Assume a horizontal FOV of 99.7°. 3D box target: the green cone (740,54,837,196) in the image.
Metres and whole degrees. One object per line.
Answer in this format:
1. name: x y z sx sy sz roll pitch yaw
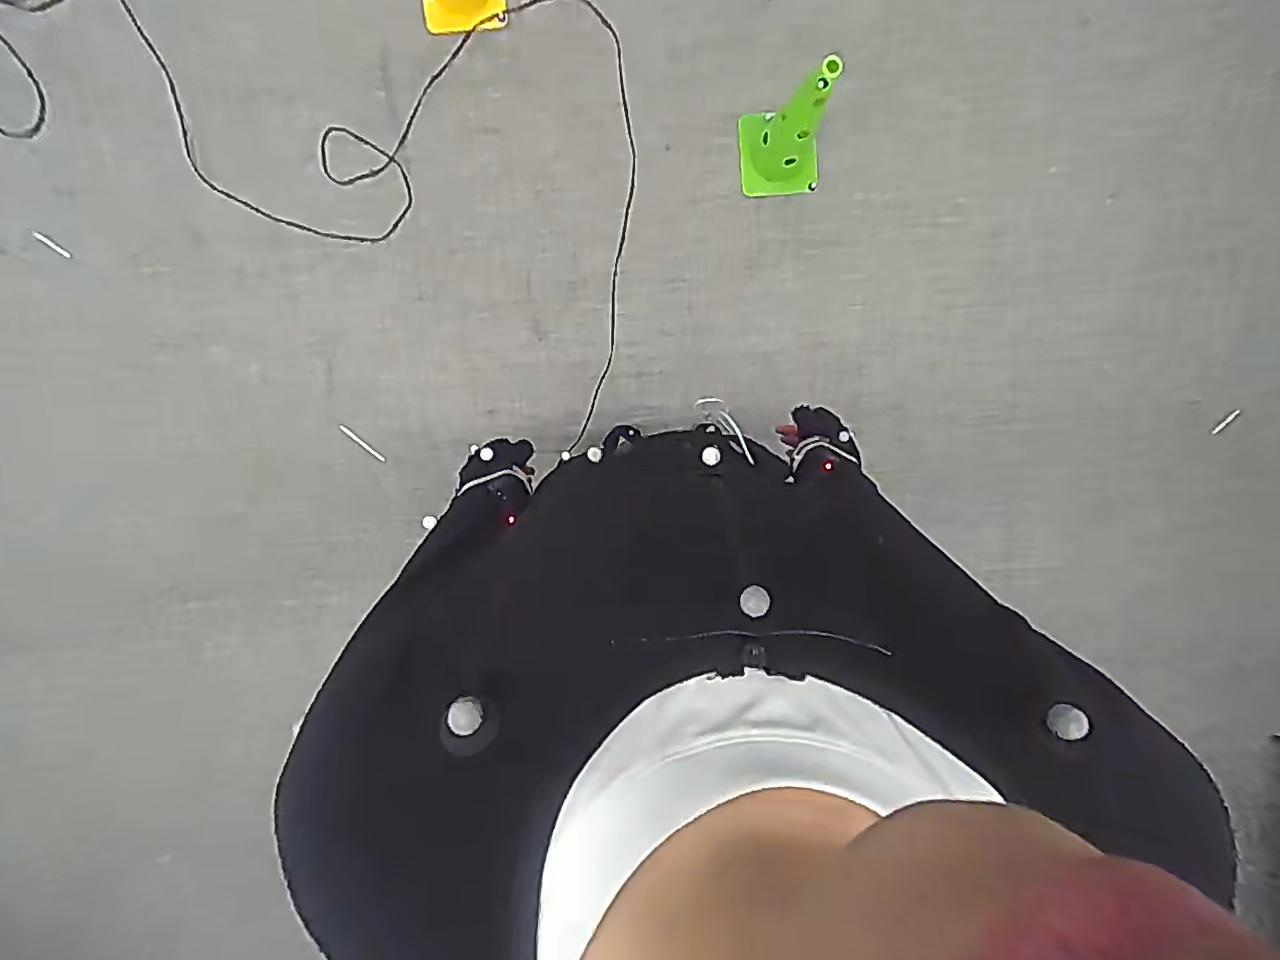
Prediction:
1. green cone: 0.365 -0.827 1.223 0.202 0.368 0.200 -5 96 0
